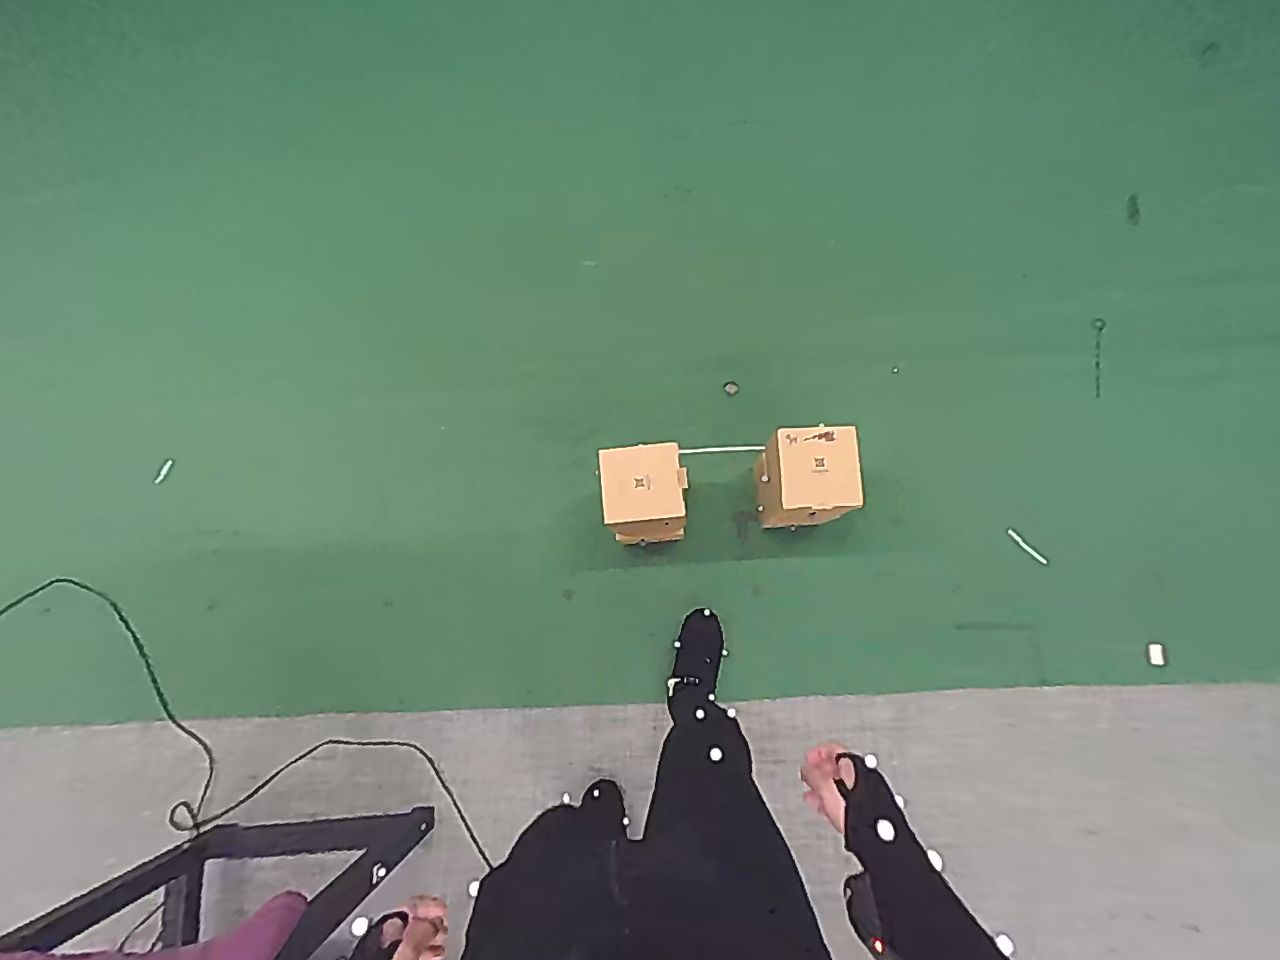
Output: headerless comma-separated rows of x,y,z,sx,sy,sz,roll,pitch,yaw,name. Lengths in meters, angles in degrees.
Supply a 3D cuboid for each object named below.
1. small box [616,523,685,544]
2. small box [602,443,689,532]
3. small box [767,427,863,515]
0.026,0.069,1.380,0.168,0.176,0.179,-6,78,3,small box
0.014,0.022,1.224,0.179,0.176,0.168,-6,78,4,small box
0.381,-0.012,1.202,0.168,0.176,0.179,-1,81,3,small box
